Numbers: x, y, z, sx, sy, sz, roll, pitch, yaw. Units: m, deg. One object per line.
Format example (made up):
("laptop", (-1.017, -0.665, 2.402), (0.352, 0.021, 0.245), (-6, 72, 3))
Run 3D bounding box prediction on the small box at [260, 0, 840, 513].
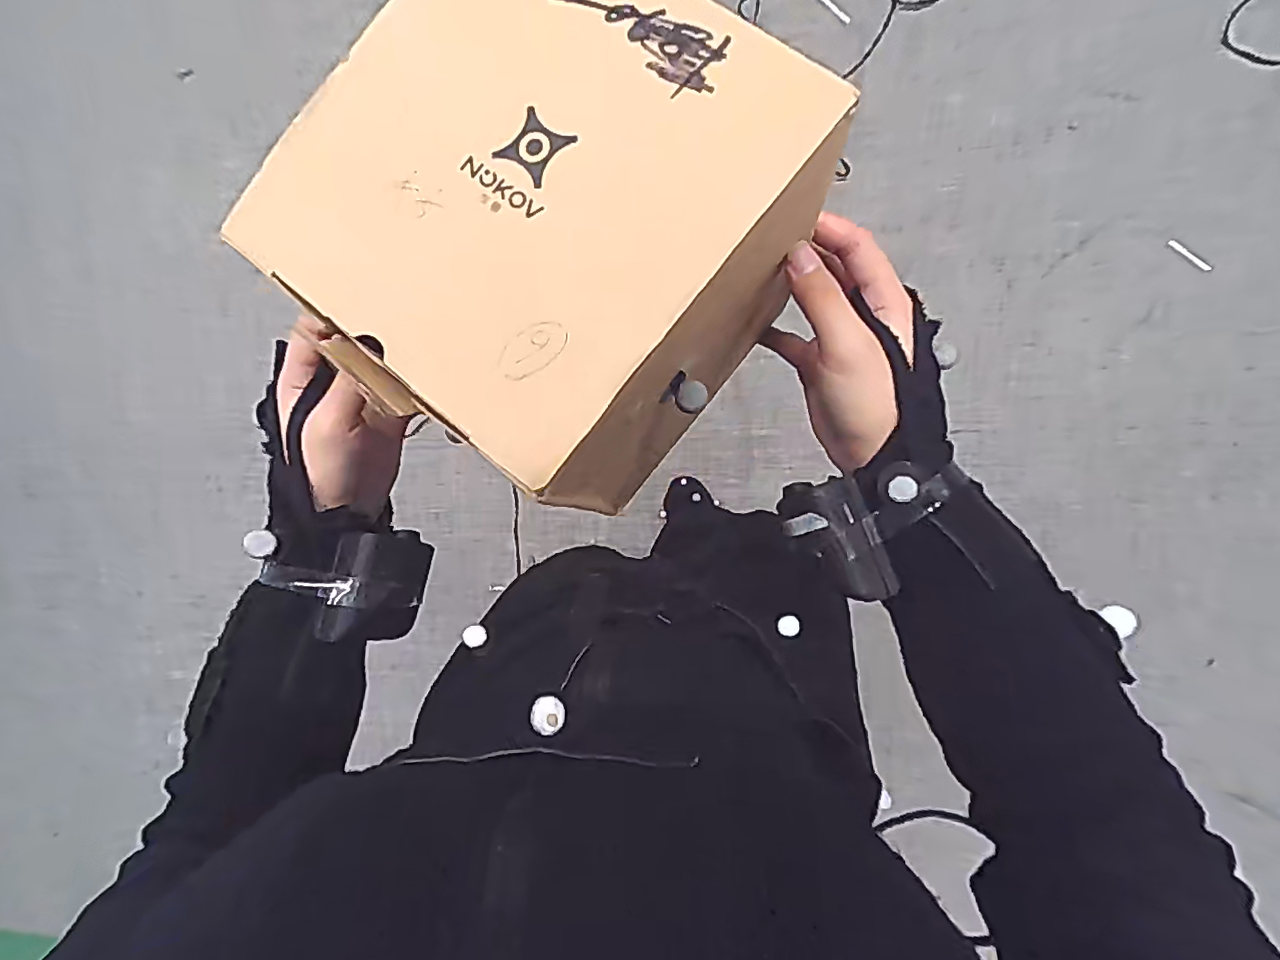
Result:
("small box", (-0.030, -0.096, 0.284), (0.168, 0.176, 0.179), (39, 90, 9))
